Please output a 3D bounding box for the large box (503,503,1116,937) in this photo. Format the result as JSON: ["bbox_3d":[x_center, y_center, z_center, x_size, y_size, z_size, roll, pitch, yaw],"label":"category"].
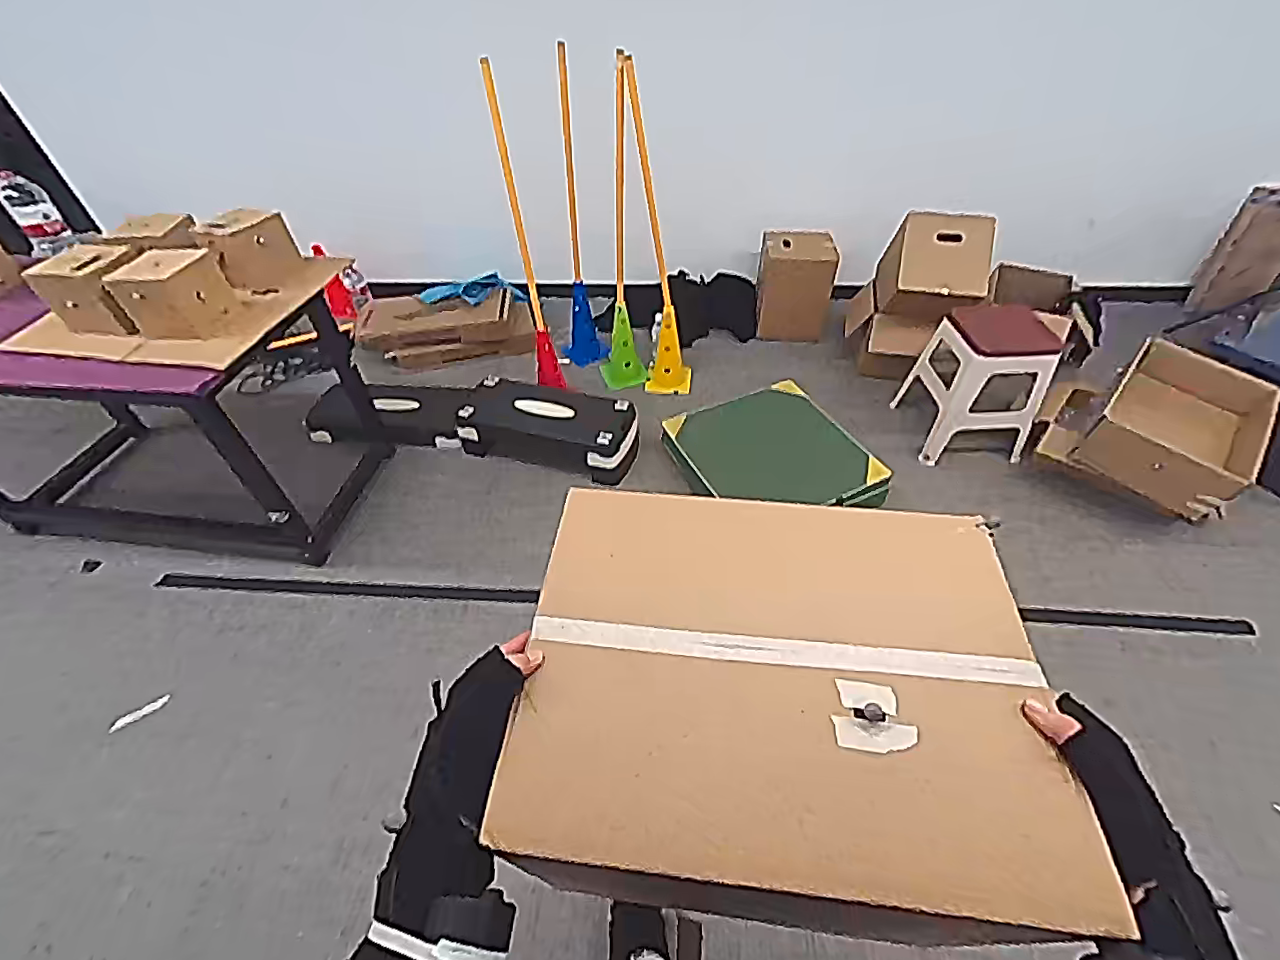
[{"bbox_3d":[0.118,0.247,0.559,0.408,0.320,0.320,4,50,5],"label":"large box"}]
